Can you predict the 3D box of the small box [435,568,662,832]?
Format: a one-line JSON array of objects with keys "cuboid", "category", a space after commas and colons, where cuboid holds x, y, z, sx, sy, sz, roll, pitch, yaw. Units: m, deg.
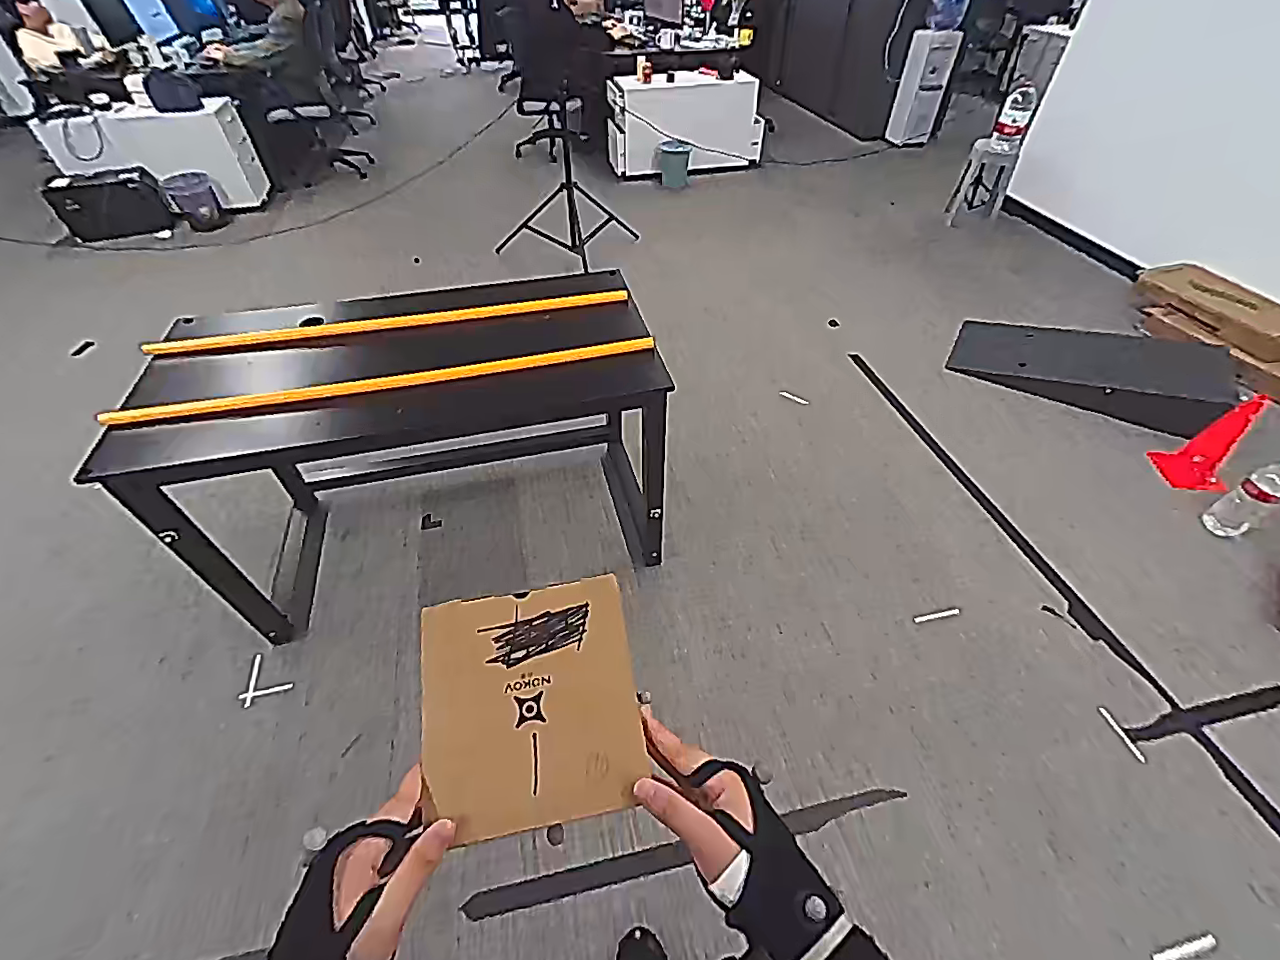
[{"cuboid": [-0.079, 0.203, 0.497, 0.168, 0.176, 0.179, -10, 61, -5], "category": "small box"}]
